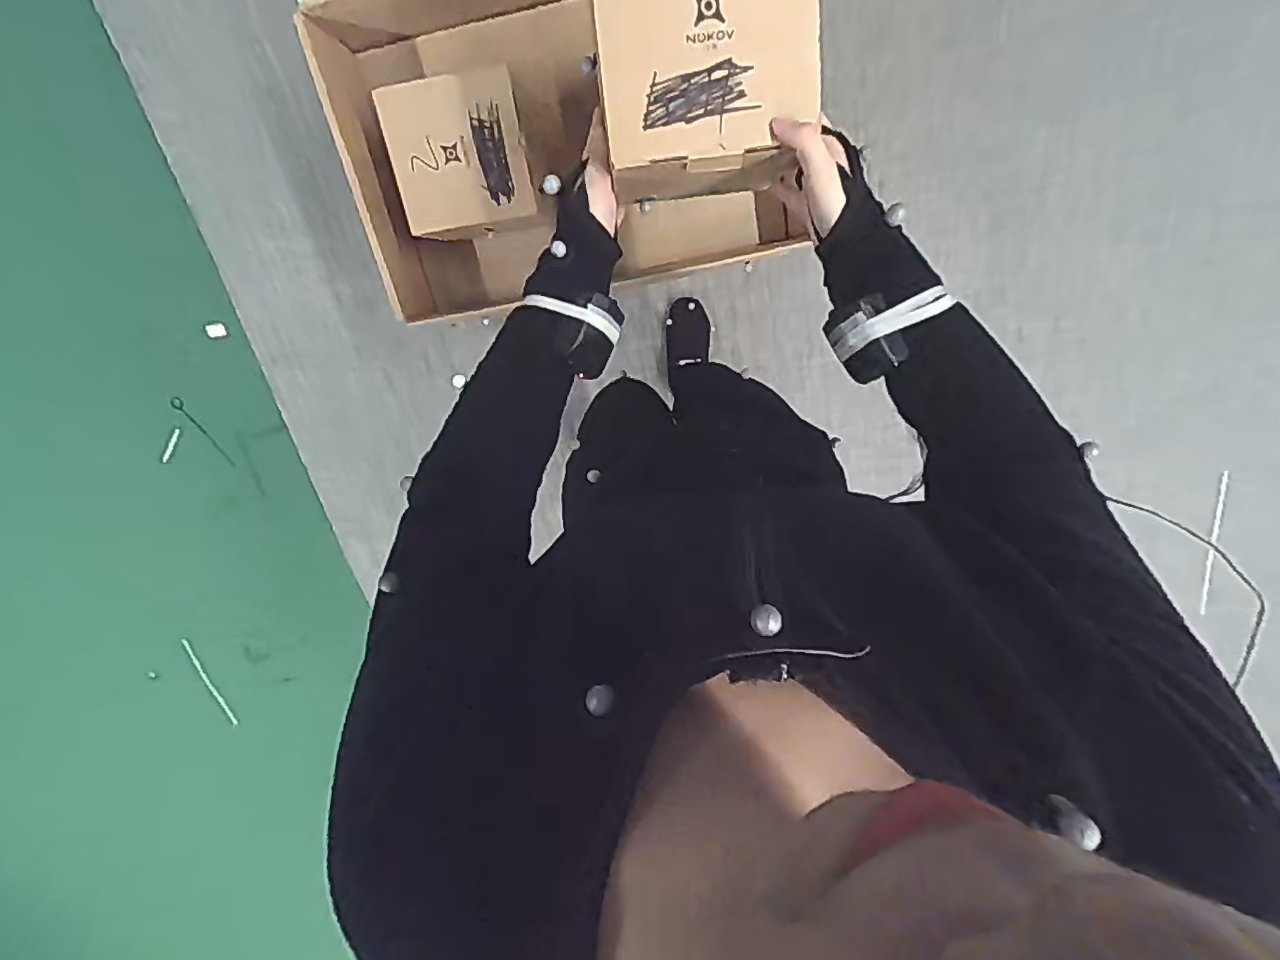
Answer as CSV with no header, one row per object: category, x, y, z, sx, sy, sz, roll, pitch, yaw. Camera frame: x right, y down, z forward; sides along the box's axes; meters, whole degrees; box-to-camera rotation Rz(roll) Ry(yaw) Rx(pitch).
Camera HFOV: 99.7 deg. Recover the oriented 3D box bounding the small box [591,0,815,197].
small box,0.046,-0.361,0.476,0.168,0.176,0.179,-7,107,0
